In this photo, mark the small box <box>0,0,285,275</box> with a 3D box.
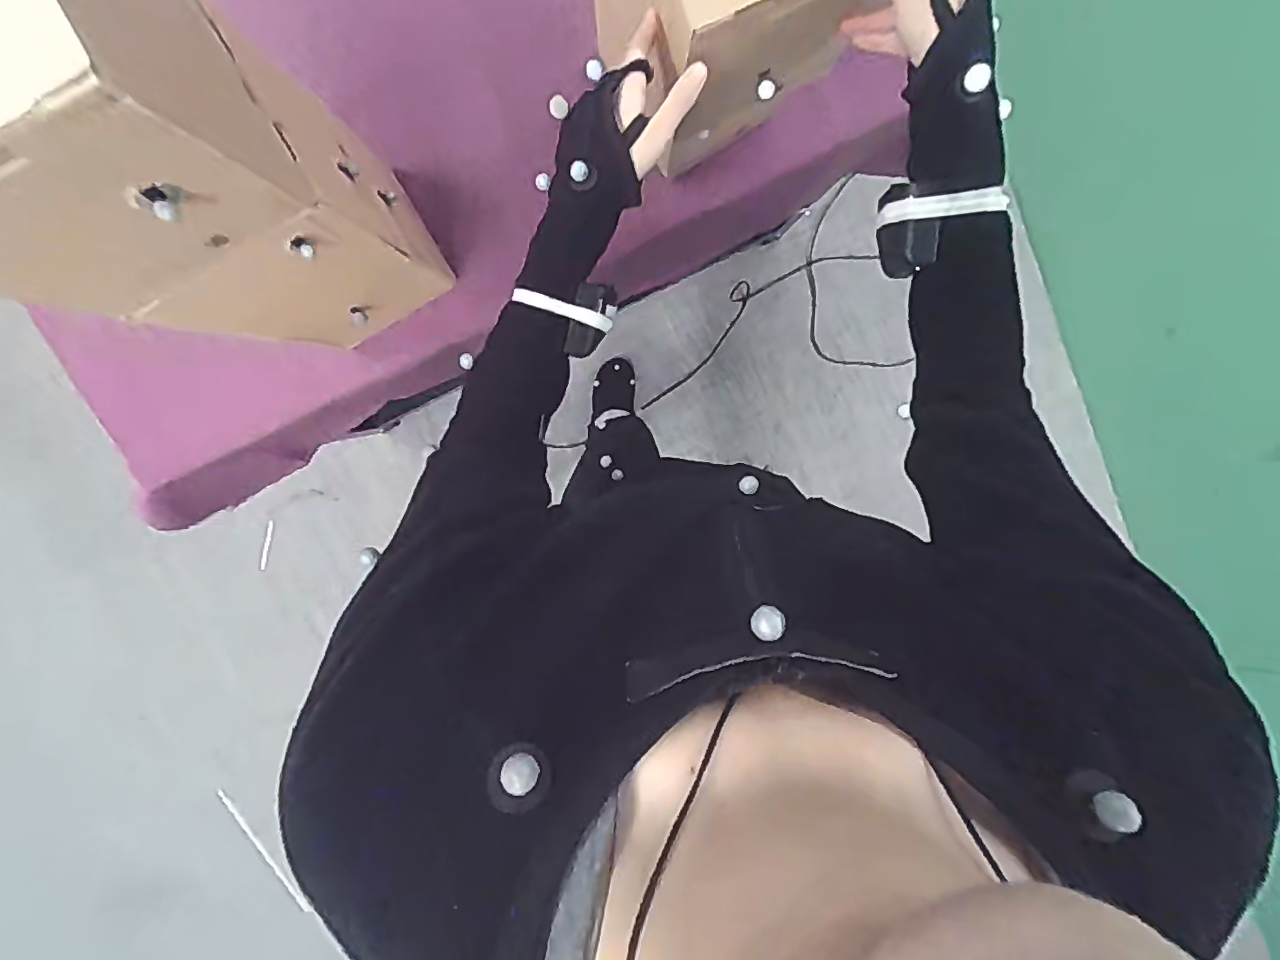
[{"bbox_3d":[-0.345,-0.229,0.290,0.168,0.176,0.179,-26,99,2],"label":"small box"}]

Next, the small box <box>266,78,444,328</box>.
[{"bbox_3d":[-0.357,-0.287,0.609,0.179,0.176,0.168,-28,100,3],"label":"small box"}]

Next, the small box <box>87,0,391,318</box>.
[{"bbox_3d":[-0.350,-0.254,0.451,0.179,0.176,0.168,-29,99,2],"label":"small box"}]
